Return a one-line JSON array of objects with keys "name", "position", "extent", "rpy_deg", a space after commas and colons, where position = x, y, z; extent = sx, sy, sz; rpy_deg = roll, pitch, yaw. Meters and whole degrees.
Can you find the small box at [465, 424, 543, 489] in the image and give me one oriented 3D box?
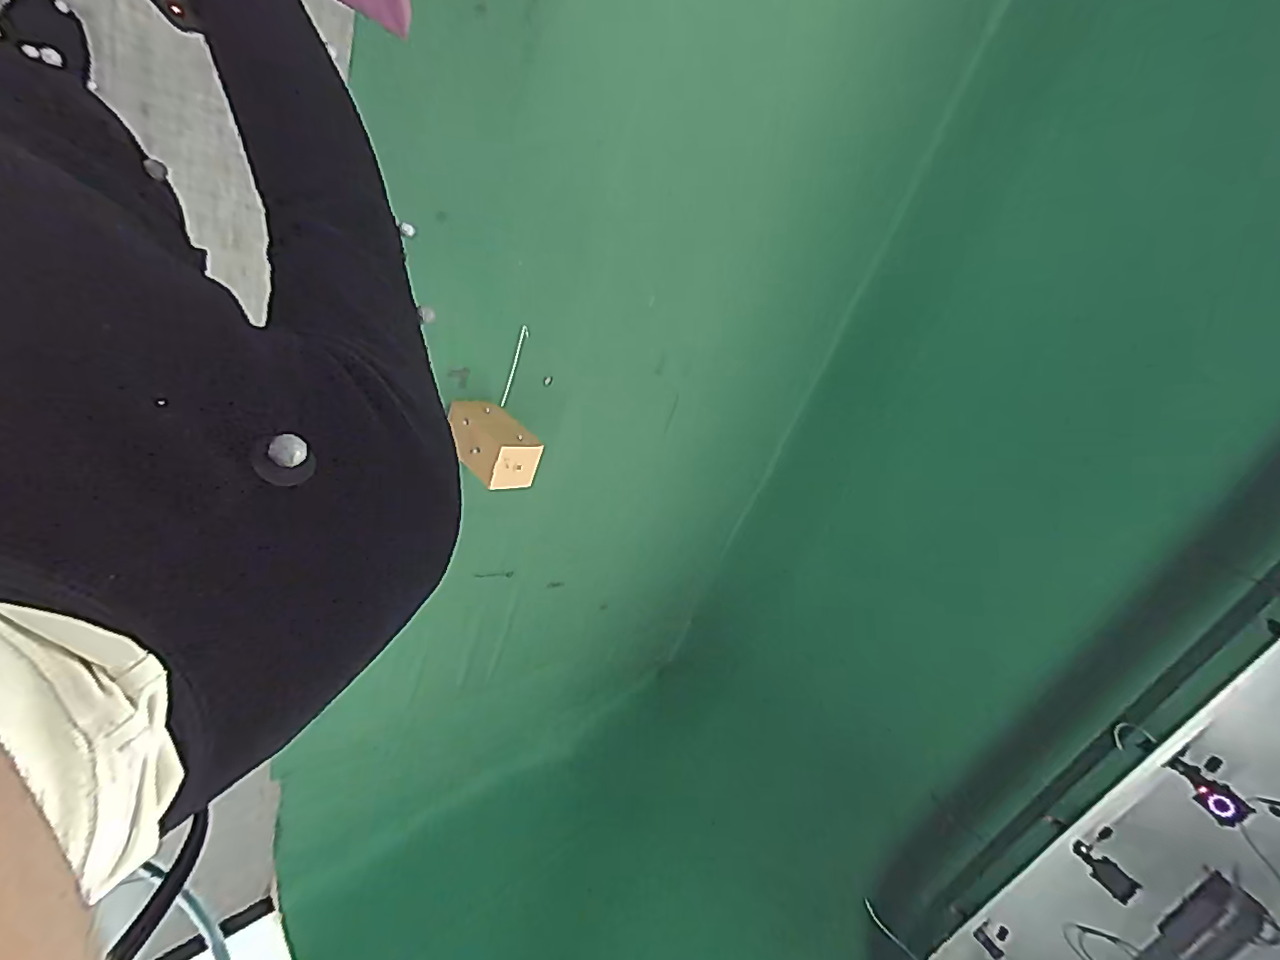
[{"name": "small box", "position": [-0.470, -0.084, 1.865], "extent": [0.179, 0.176, 0.168], "rpy_deg": [-5, 124, -49]}]
